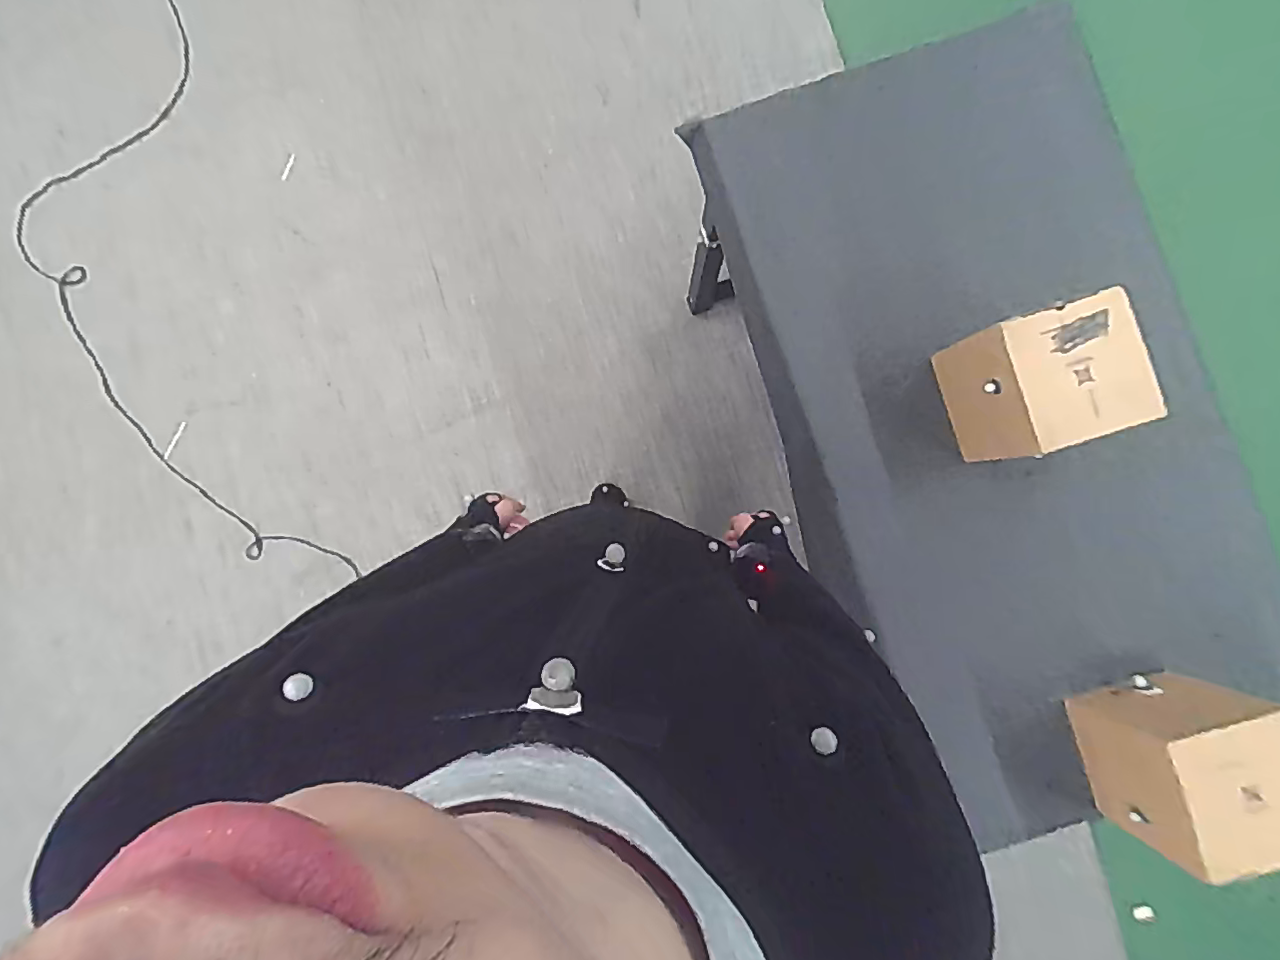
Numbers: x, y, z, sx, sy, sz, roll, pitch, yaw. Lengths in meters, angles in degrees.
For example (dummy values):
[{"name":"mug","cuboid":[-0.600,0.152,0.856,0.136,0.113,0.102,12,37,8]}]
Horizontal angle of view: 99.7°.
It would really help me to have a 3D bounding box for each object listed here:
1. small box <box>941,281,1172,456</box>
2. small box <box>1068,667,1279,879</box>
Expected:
[{"name":"small box","cuboid":[0.554,-0.141,0.747,0.168,0.176,0.179,-17,89,1]},{"name":"small box","cuboid":[0.737,0.379,0.730,0.168,0.176,0.179,-16,87,0]}]
